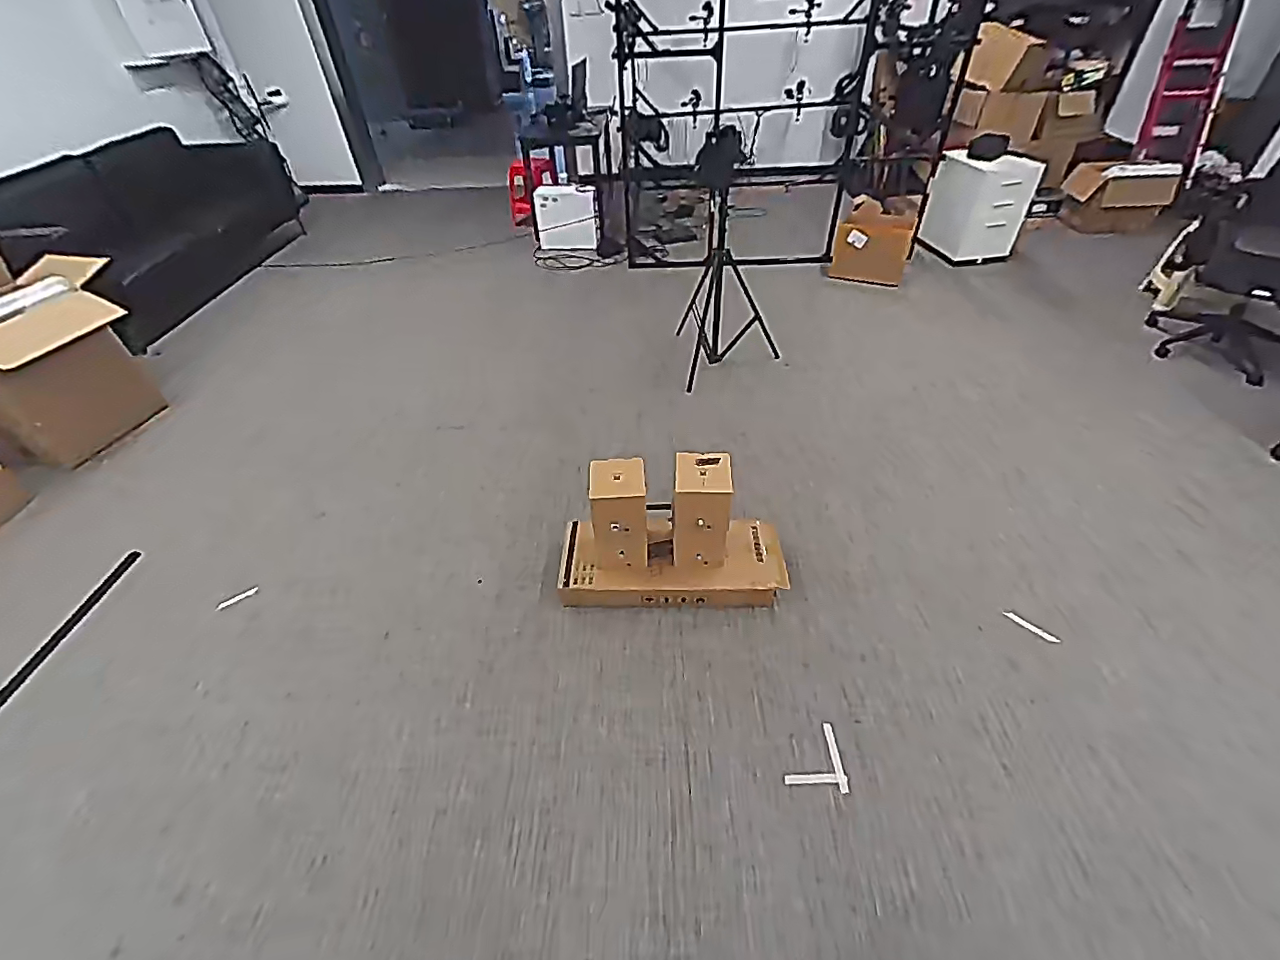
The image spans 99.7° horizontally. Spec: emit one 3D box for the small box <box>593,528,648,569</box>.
[{"bbox_3d":[-0.060,0.180,1.776,0.168,0.176,0.179,-3,42,0],"label":"small box"}]

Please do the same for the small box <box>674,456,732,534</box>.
[{"bbox_3d":[0.190,0.046,1.666,0.168,0.176,0.179,1,42,5],"label":"small box"}]

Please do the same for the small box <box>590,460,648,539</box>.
[{"bbox_3d":[-0.065,0.060,1.665,0.168,0.176,0.179,-5,42,-1],"label":"small box"}]

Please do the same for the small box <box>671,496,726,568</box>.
[{"bbox_3d":[0.188,0.170,1.774,0.168,0.176,0.179,-2,41,2],"label":"small box"}]
